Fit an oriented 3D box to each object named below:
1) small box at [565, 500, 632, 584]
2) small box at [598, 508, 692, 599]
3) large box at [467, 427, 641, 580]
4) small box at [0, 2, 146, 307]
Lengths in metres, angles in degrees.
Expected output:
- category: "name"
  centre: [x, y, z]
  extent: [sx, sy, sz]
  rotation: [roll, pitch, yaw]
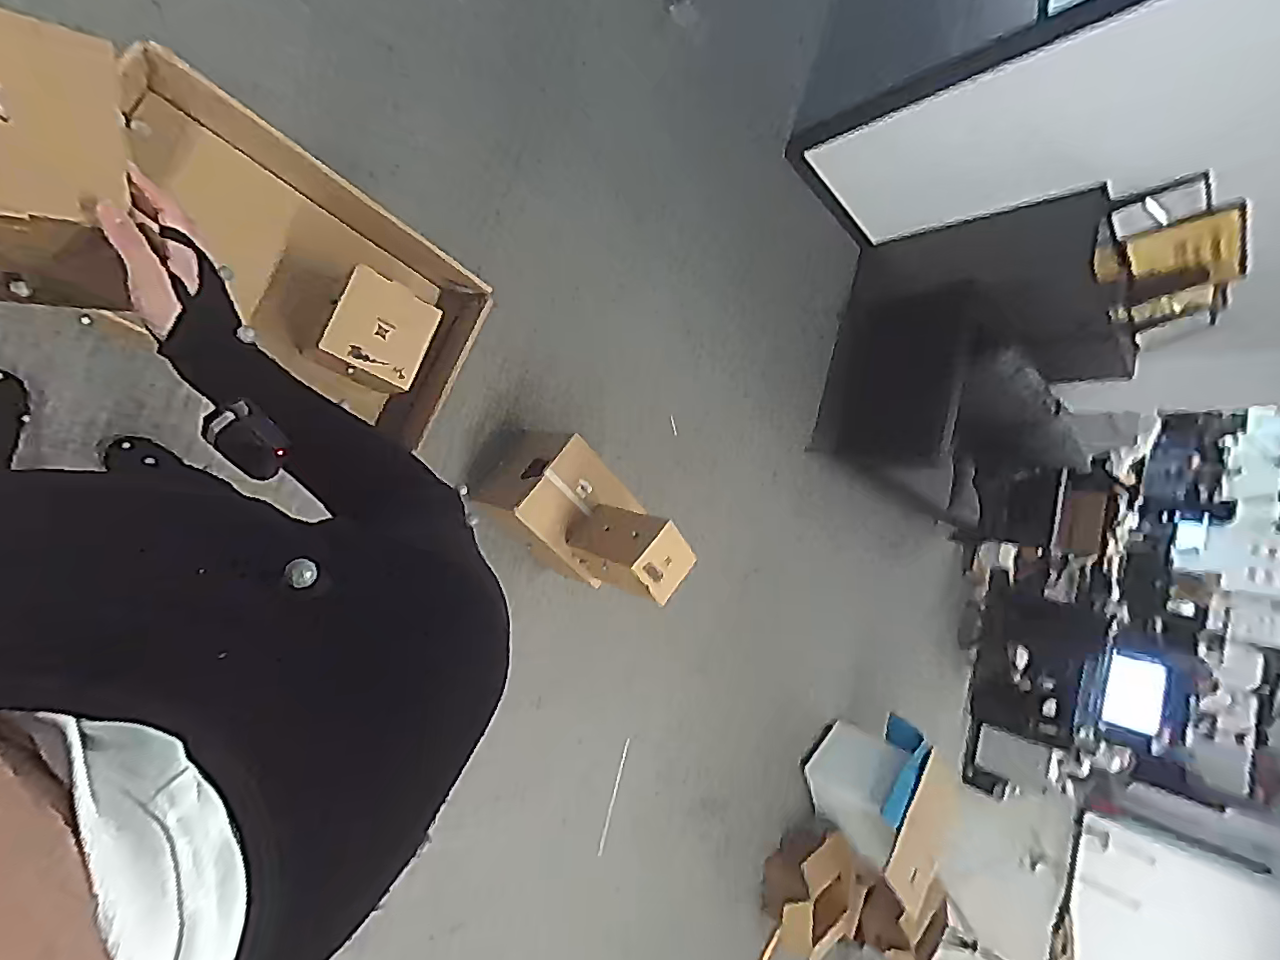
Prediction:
- category: "small box"
  centre: [-0.094, 0.180, 1.635]
  extent: [0.179, 0.176, 0.168]
  rotation: [-48, 123, -24]
- category: "small box"
  centre: [0.006, 0.199, 1.507]
  extent: [0.179, 0.176, 0.168]
  rotation: [-49, 123, -25]
- category: "large box"
  centre: [-0.279, 0.069, 1.786]
  extent: [0.408, 0.320, 0.320]
  rotation: [50, 64, -32]
- category: "small box"
  centre: [-0.547, -0.274, 0.464]
  extent: [0.168, 0.176, 0.179]
  rotation: [-7, 84, -40]
